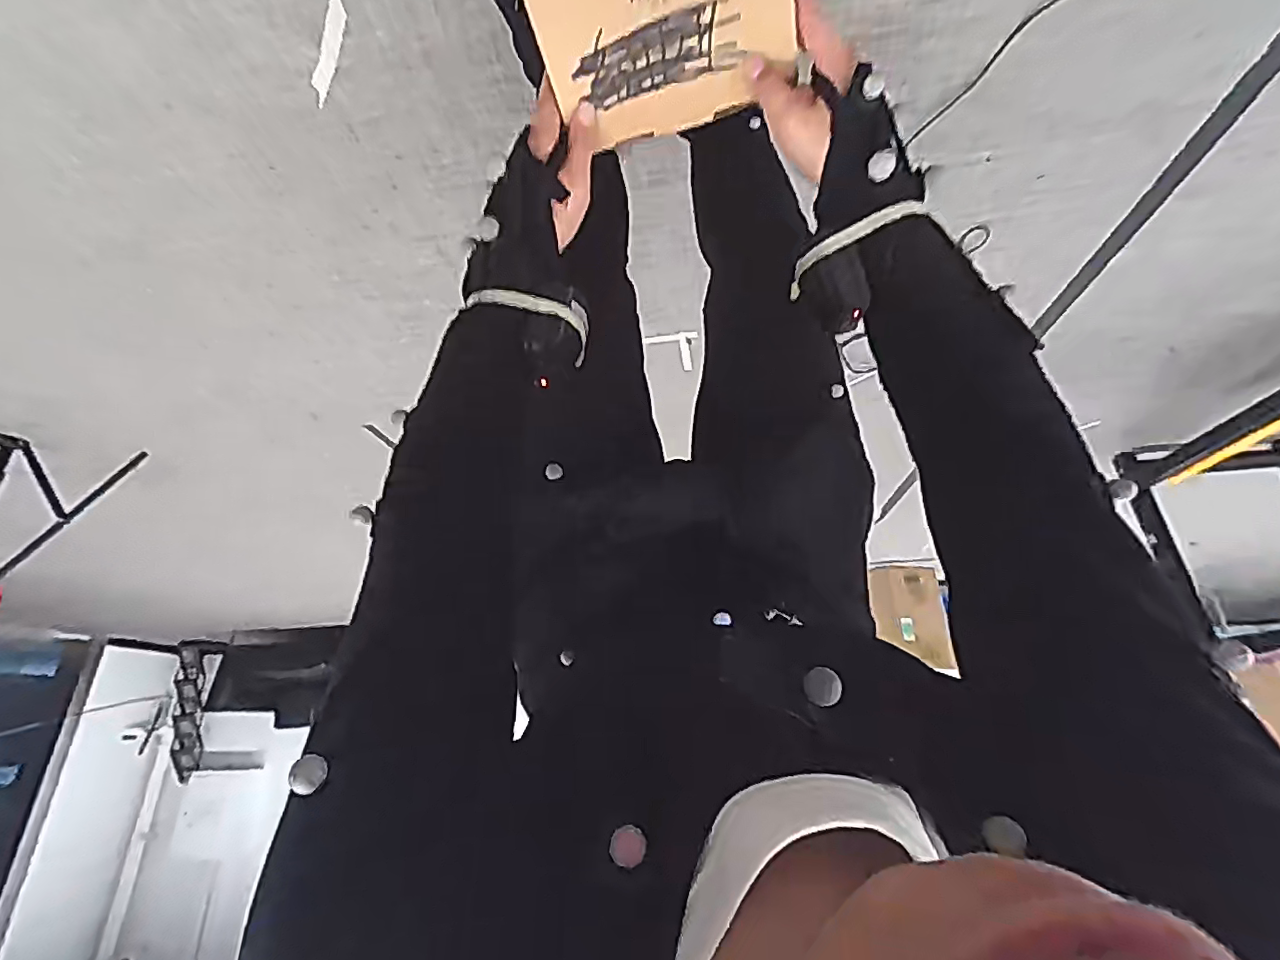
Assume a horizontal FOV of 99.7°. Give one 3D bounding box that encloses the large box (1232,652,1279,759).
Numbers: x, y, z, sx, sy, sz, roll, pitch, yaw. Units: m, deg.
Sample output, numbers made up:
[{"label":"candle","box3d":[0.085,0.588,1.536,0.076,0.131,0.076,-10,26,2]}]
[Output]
[{"label":"large box","box3d":[1.989,0.603,1.440,0.408,0.320,0.320,-7,157,6]}]
